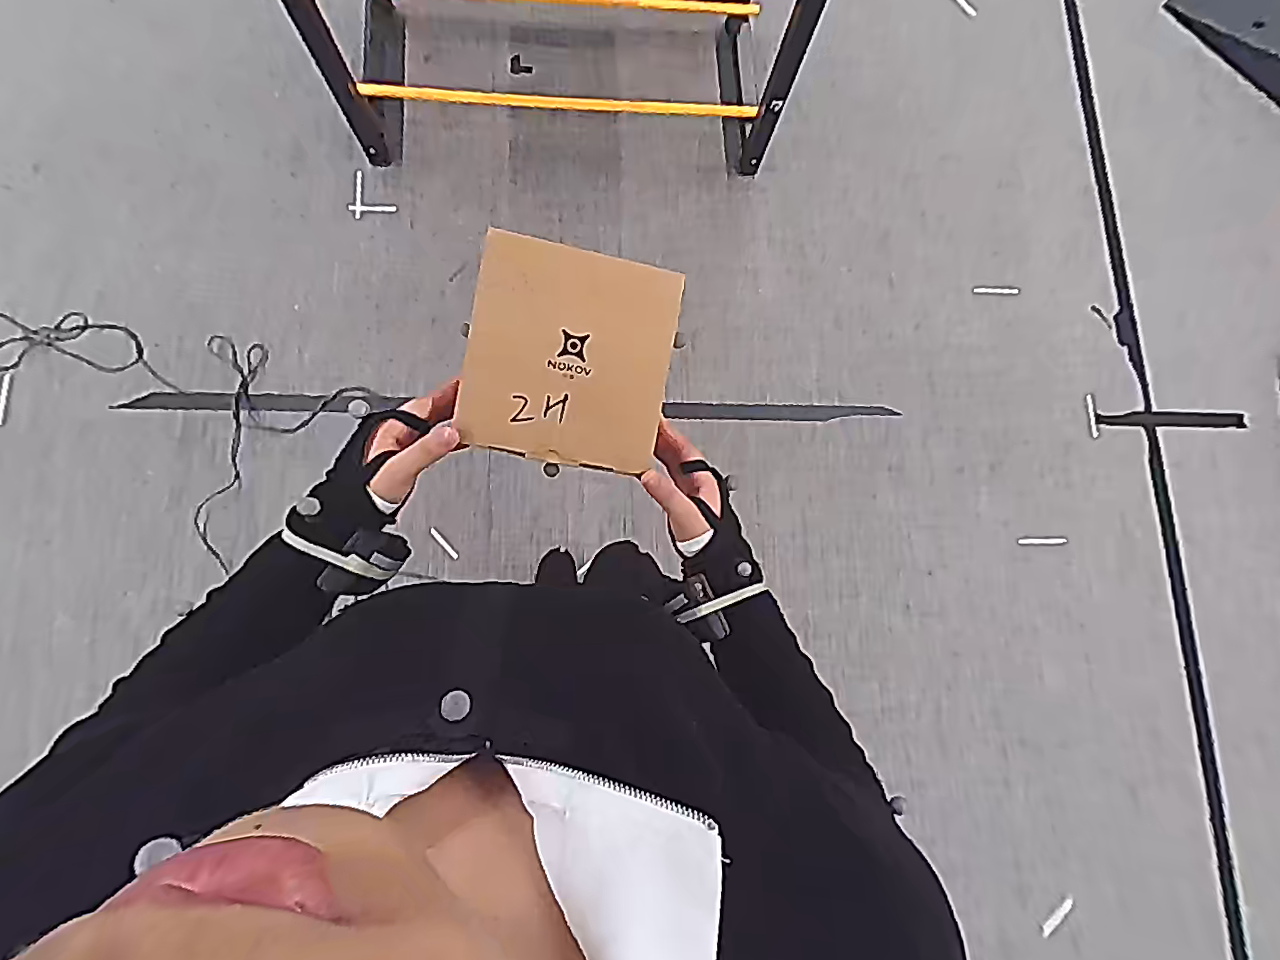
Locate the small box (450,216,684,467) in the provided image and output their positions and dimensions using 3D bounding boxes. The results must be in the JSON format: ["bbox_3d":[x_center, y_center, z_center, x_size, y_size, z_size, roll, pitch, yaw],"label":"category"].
[{"bbox_3d":[-0.068,-0.113,0.519,0.168,0.176,0.179,11,90,-8],"label":"small box"}]
